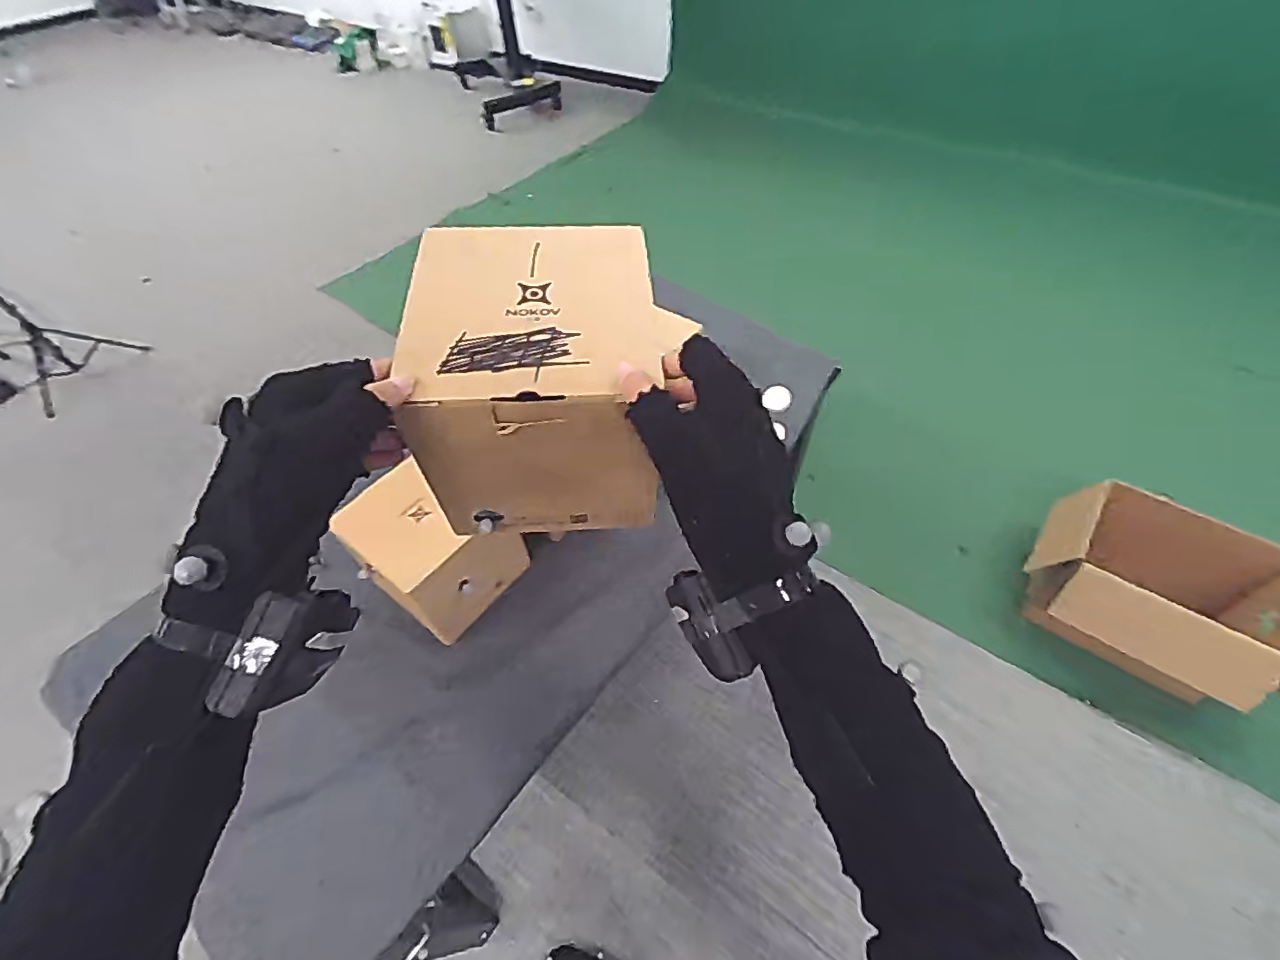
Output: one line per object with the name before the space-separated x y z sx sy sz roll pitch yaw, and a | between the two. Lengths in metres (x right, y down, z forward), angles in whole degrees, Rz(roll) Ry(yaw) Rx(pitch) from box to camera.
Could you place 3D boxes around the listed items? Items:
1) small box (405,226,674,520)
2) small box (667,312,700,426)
small box | -0.065 -0.078 0.434 0.168 0.176 0.179 -1 56 -4
small box | -0.012 -0.197 0.976 0.179 0.176 0.168 29 59 23
